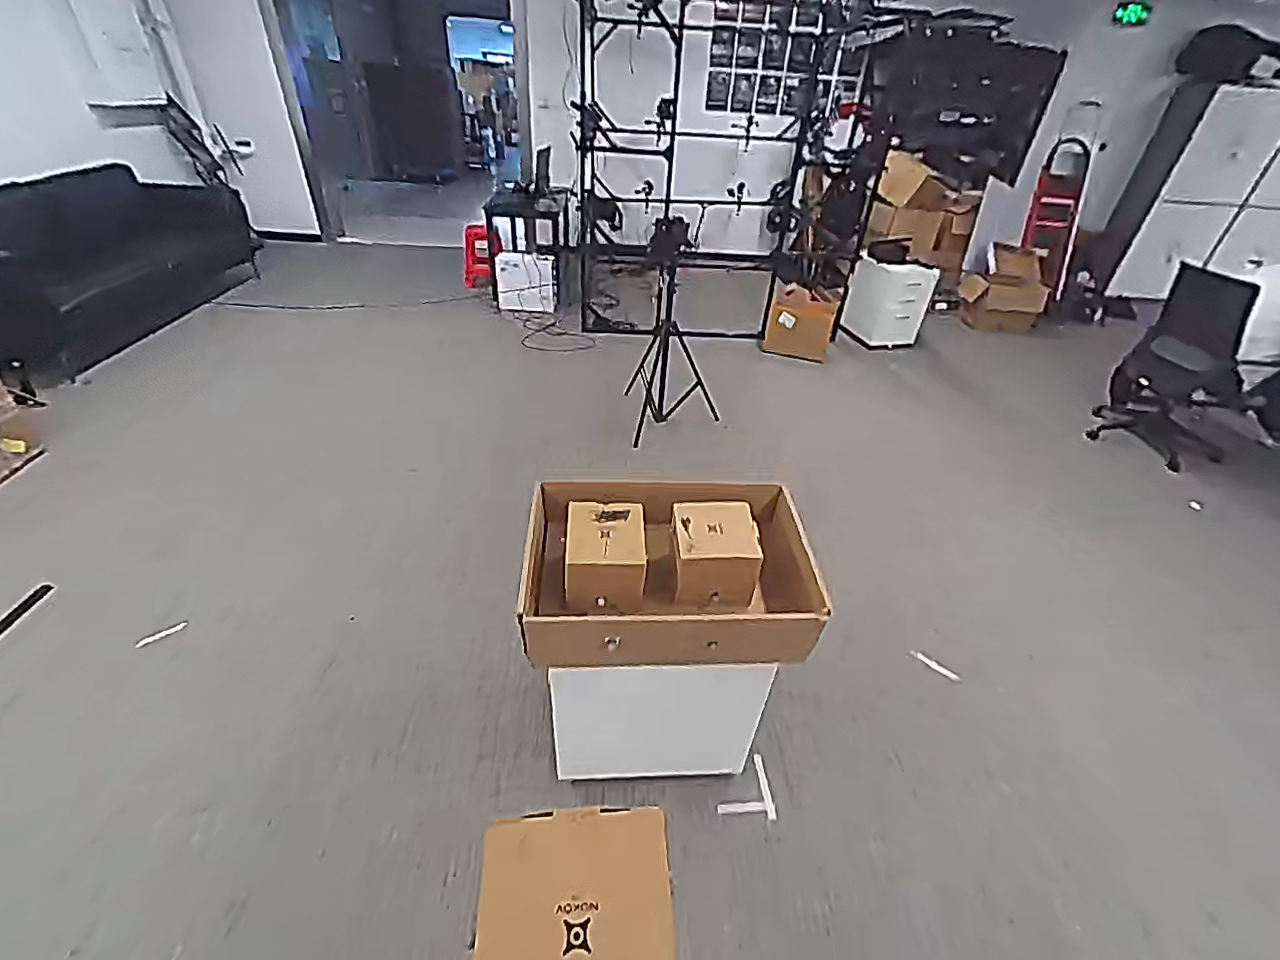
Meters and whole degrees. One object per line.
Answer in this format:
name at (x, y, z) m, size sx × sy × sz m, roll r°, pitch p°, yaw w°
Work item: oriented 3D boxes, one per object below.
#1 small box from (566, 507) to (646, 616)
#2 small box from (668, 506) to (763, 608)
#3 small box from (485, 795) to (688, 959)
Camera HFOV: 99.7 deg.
small box at (-0.078, 0.180, 1.199) m, size 0.168 × 0.176 × 0.179 m, roll 1°, pitch 42°, yaw -5°
small box at (0.163, 0.176, 1.226) m, size 0.179 × 0.176 × 0.168 m, roll 0°, pitch 40°, yaw -3°
small box at (-0.052, 0.420, 0.507) m, size 0.168 × 0.176 × 0.179 m, roll 0°, pitch 46°, yaw -7°
